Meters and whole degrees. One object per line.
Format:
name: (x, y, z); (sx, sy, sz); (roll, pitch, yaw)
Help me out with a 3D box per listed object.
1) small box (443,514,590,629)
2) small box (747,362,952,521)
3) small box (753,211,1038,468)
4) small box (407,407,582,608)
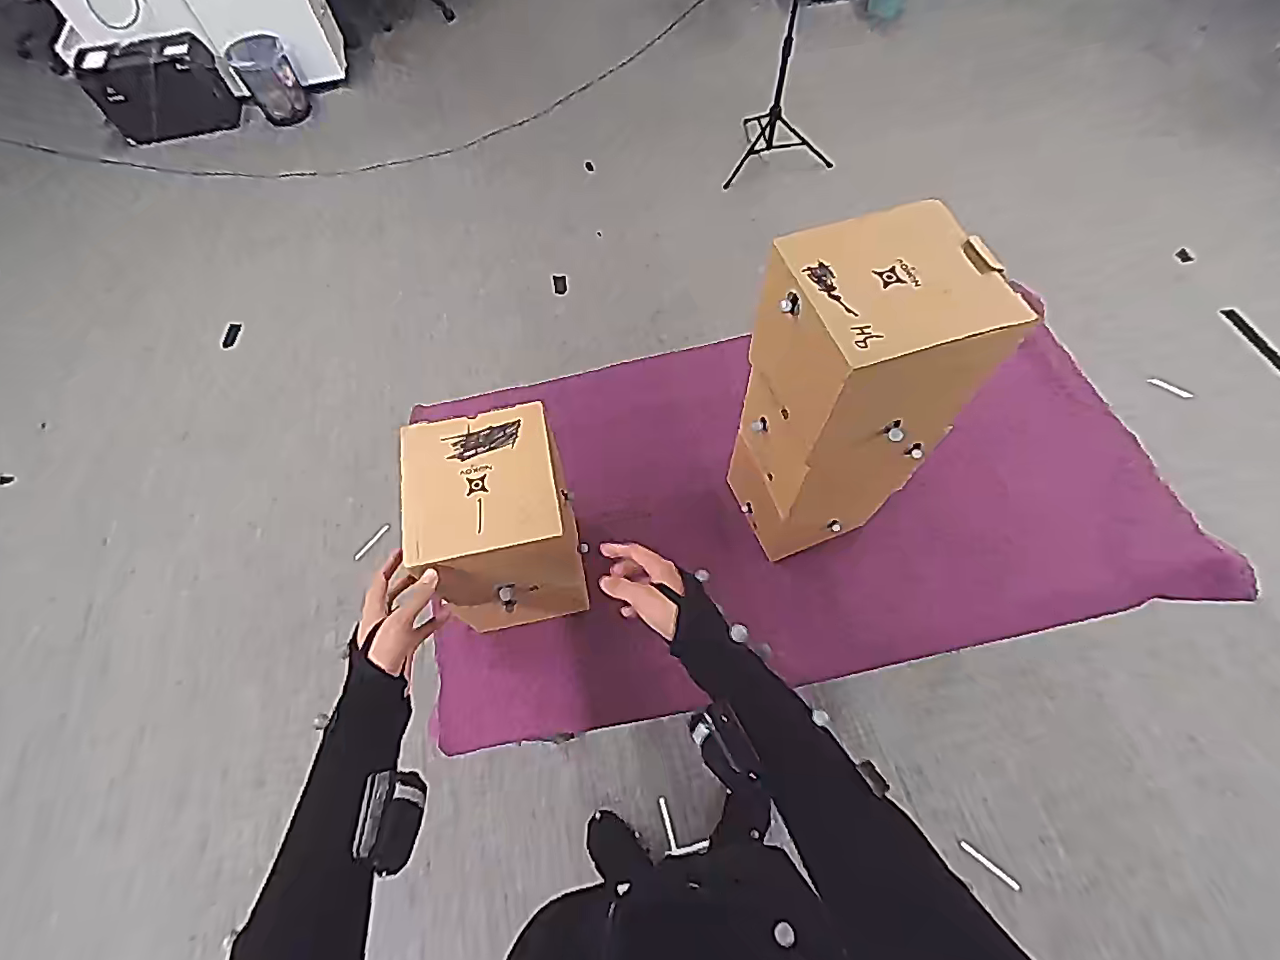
small box: (-0.179, 0.113, 0.806); (0.179, 0.176, 0.168); (-10, 63, -4)
small box: (0.249, -0.064, 0.700); (0.179, 0.176, 0.168); (-15, 63, -6)
small box: (0.235, -0.135, 0.552); (0.179, 0.176, 0.168); (-15, 62, -6)
small box: (-0.170, 0.039, 0.660); (0.168, 0.176, 0.179); (-11, 64, -4)
